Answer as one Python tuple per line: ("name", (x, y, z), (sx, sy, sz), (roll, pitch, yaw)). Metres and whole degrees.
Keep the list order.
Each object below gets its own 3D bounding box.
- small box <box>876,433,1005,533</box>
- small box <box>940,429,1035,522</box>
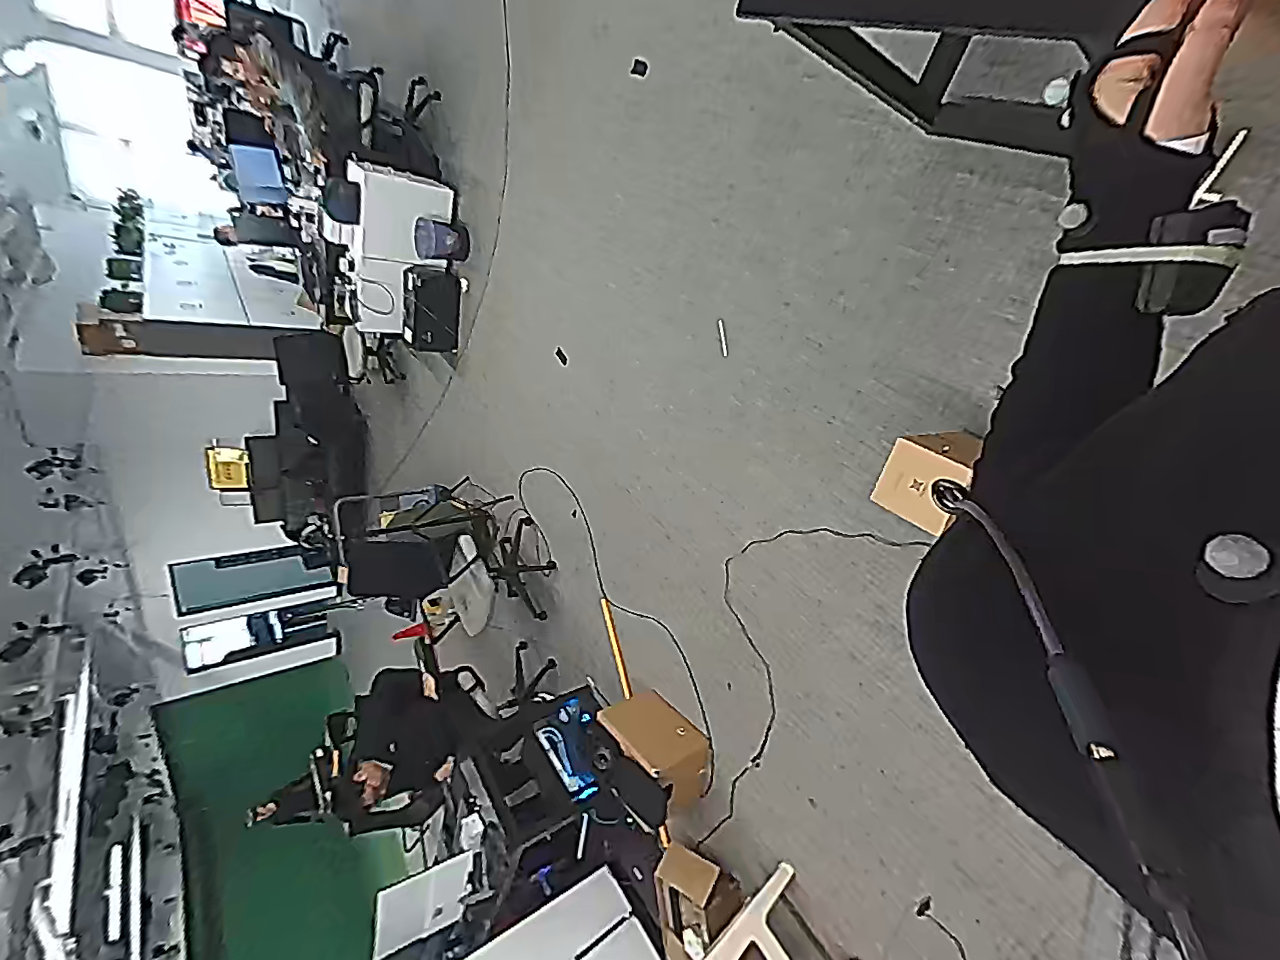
("small box", (0.687, -0.003, 1.234), (0.179, 0.176, 0.168), (39, 124, 42))
("small box", (0.818, -0.018, 1.331), (0.179, 0.176, 0.168), (40, 126, 39))
